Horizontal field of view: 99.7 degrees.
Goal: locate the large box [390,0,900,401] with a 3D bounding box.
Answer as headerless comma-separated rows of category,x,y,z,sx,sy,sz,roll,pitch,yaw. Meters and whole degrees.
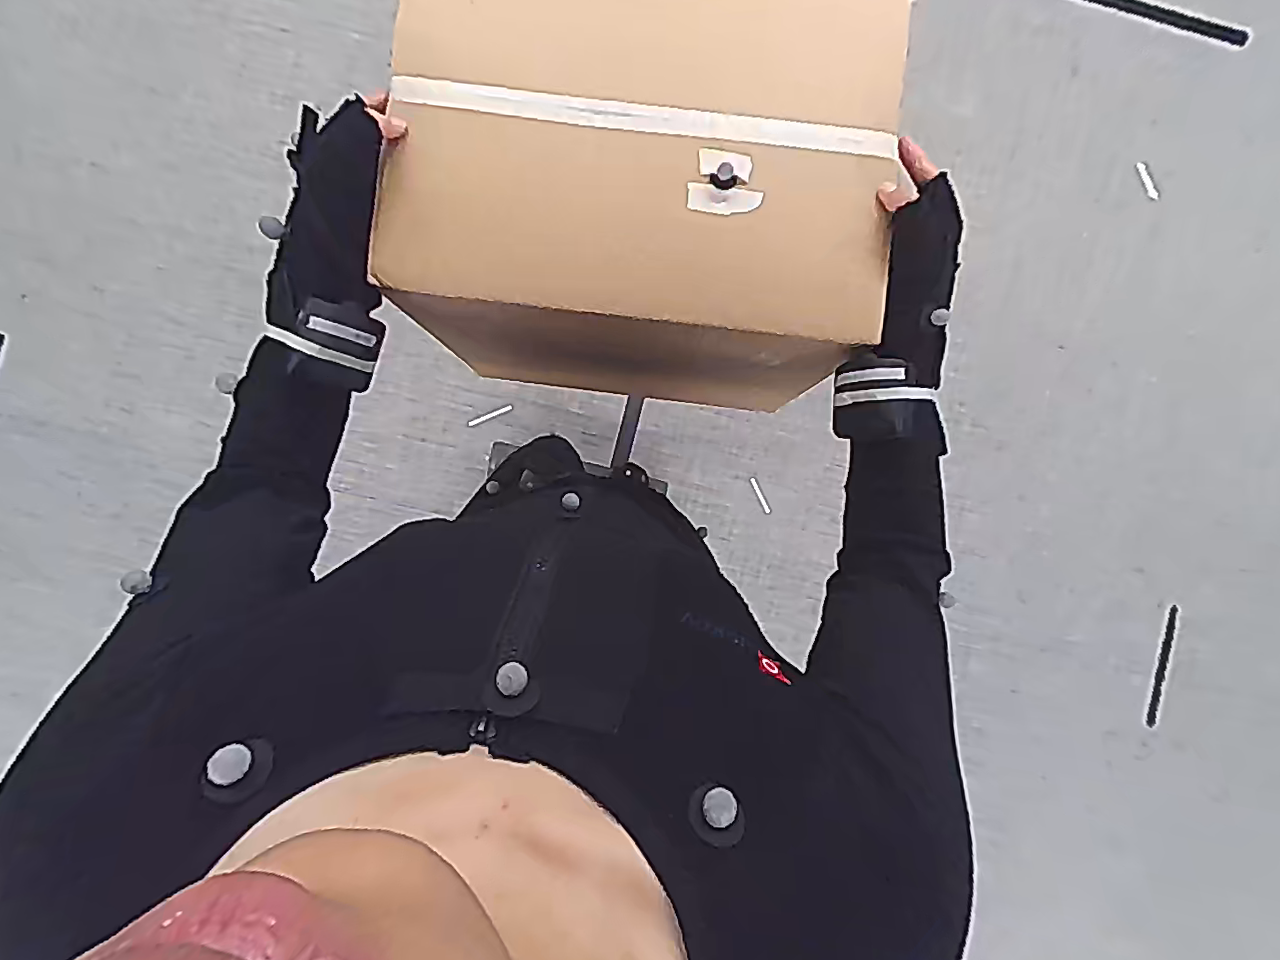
large box,0.004,-0.284,0.593,0.408,0.320,0.320,7,88,-1

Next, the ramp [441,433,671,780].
ramp,-0.258,0.399,1.569,0.509,0.206,0.991,12,90,-3
